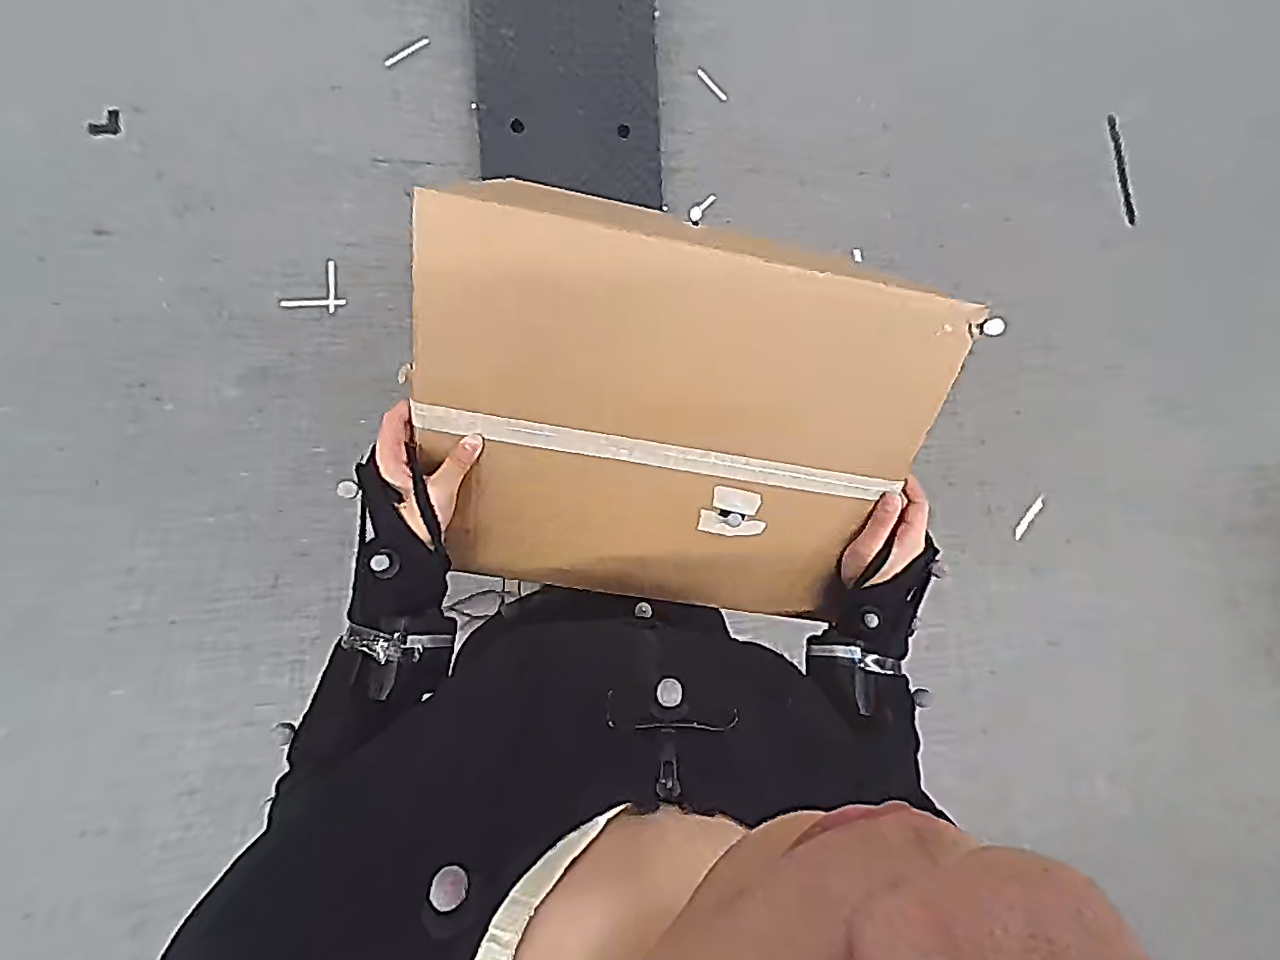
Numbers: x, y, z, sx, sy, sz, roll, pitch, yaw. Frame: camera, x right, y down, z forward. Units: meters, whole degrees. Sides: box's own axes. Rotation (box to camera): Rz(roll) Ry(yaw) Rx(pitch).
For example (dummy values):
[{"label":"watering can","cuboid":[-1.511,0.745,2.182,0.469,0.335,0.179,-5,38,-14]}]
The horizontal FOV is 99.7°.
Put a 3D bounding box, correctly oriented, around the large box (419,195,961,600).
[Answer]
[{"label":"large box","cuboid":[0.016,-0.104,0.584,0.408,0.320,0.320,7,121,-7]}]
